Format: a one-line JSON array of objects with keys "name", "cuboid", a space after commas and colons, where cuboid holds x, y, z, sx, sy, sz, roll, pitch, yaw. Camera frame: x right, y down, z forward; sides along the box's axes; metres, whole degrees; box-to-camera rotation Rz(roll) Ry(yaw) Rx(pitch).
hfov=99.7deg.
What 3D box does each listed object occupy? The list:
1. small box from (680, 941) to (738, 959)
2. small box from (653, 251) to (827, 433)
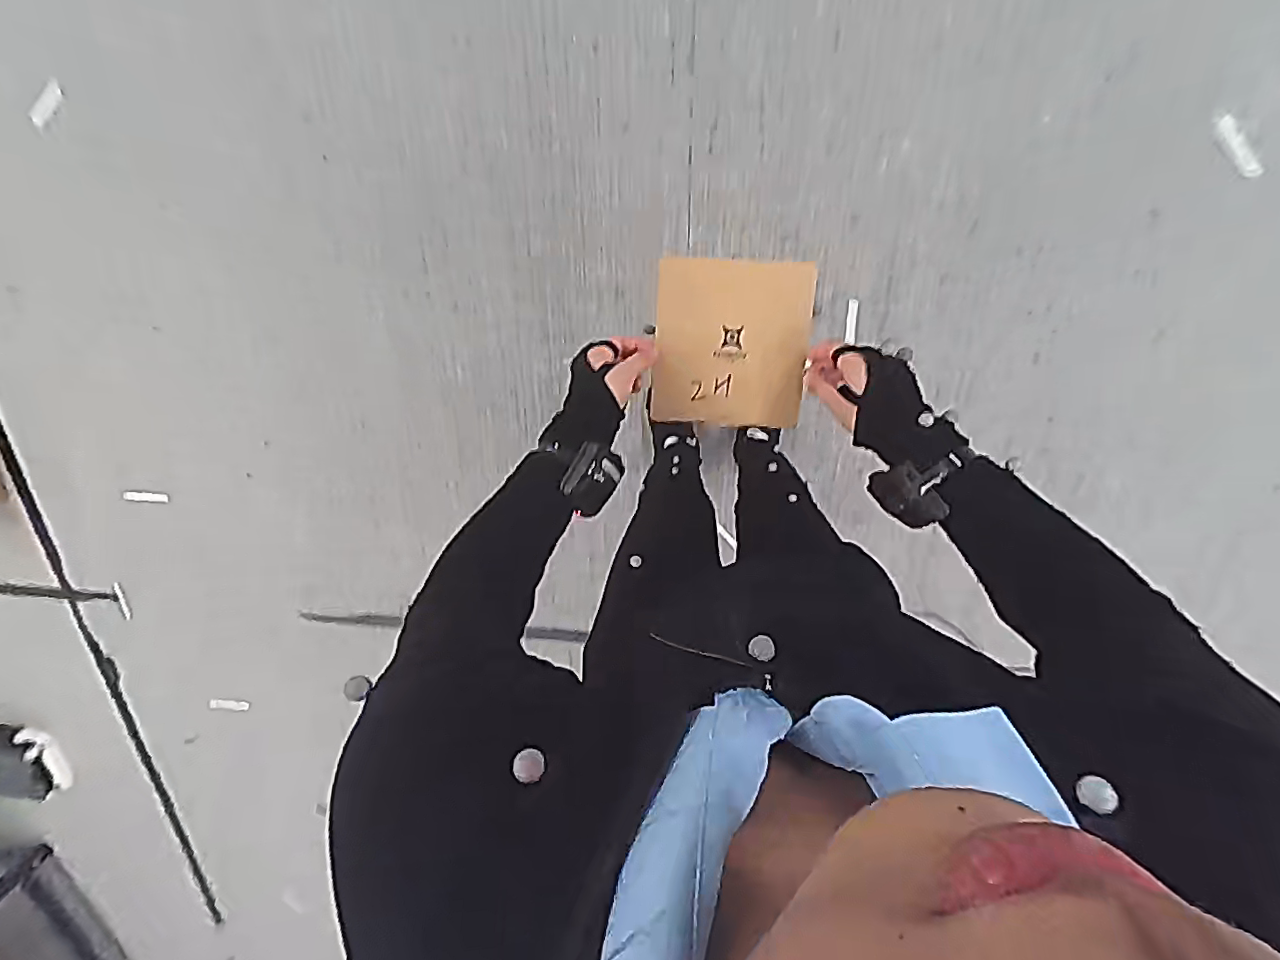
[{"name": "small box", "cuboid": [0.193, 1.454, 1.520, 0.168, 0.176, 0.179, 3, 110, 5]}, {"name": "small box", "cuboid": [0.106, -0.164, 0.641, 0.168, 0.176, 0.179, 5, 107, 3]}]
